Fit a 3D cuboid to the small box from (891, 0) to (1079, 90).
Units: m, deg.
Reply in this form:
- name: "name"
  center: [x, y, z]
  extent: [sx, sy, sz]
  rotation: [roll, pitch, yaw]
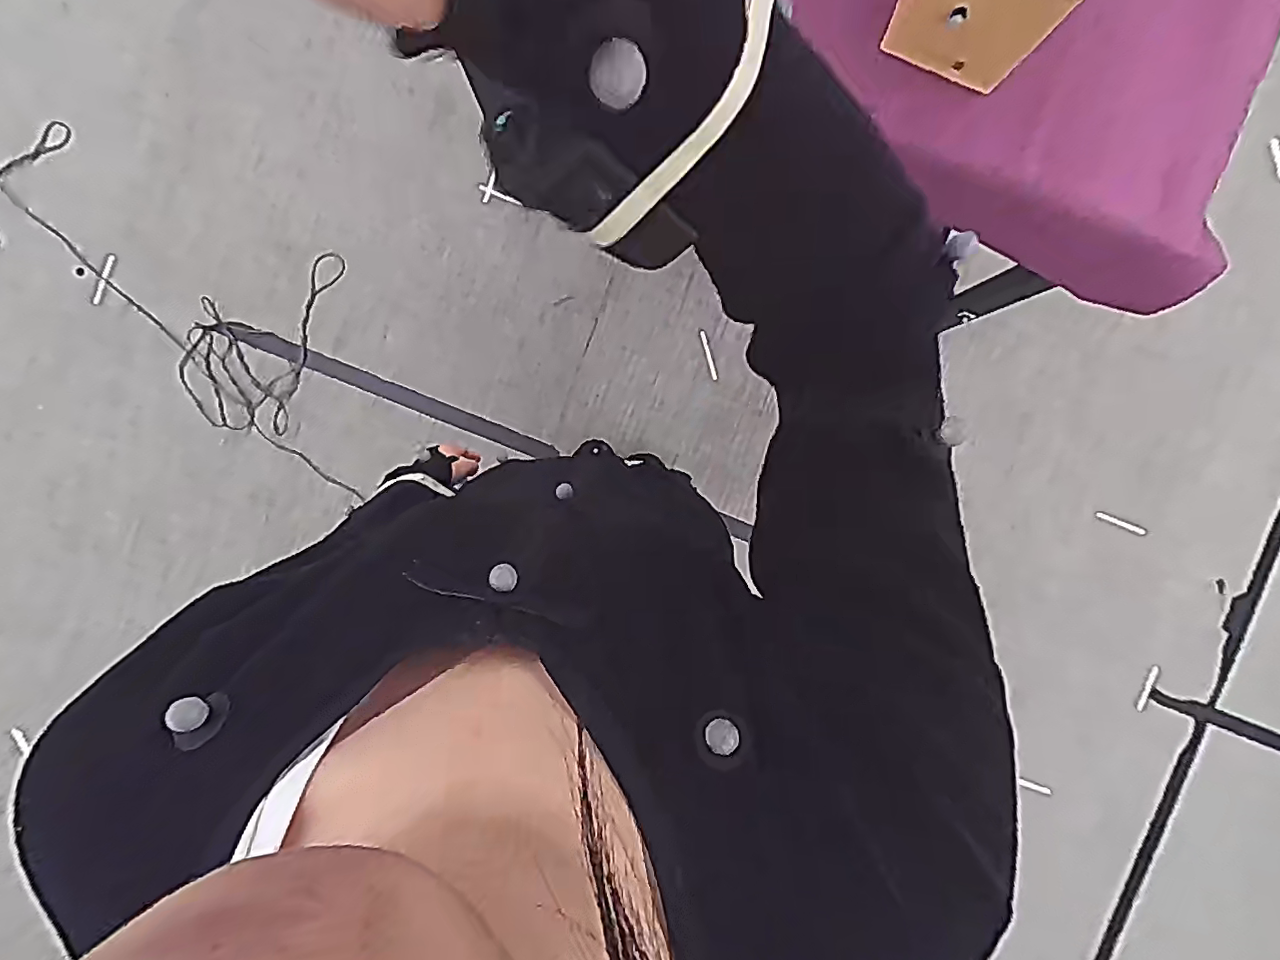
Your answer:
- name: "small box"
  center: [0.443, -0.640, 0.670]
  extent: [0.168, 0.176, 0.179]
  rotation: [21, 91, -2]
